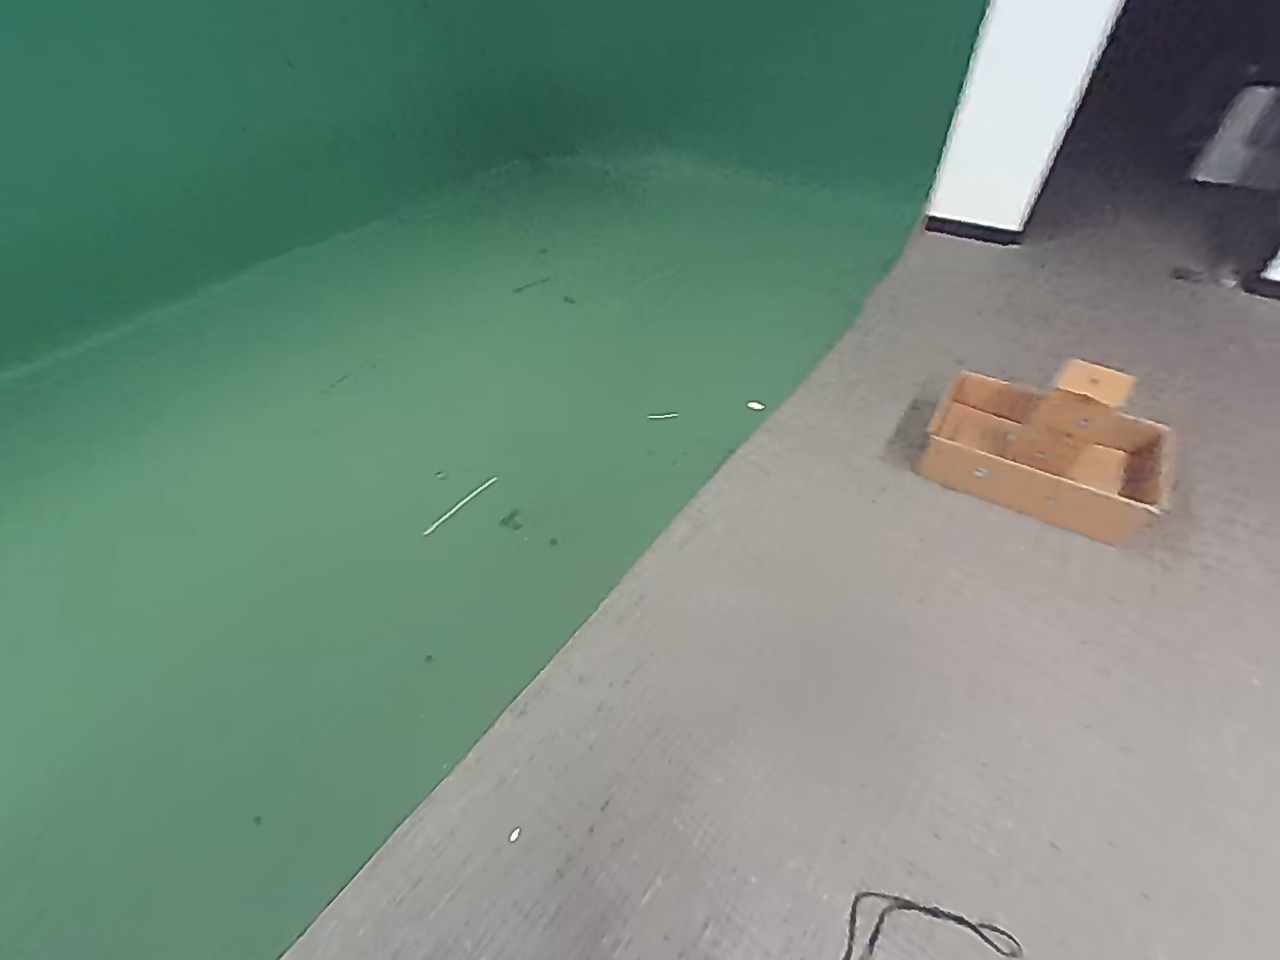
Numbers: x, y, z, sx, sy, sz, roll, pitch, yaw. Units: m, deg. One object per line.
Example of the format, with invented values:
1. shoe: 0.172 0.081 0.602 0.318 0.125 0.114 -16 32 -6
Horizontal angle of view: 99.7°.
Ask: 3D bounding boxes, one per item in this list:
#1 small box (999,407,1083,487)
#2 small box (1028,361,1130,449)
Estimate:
1. small box: 1.310 -0.102 1.752 0.179 0.176 0.168 29 56 31
2. small box: 1.306 -0.221 1.621 0.168 0.176 0.179 33 56 29
